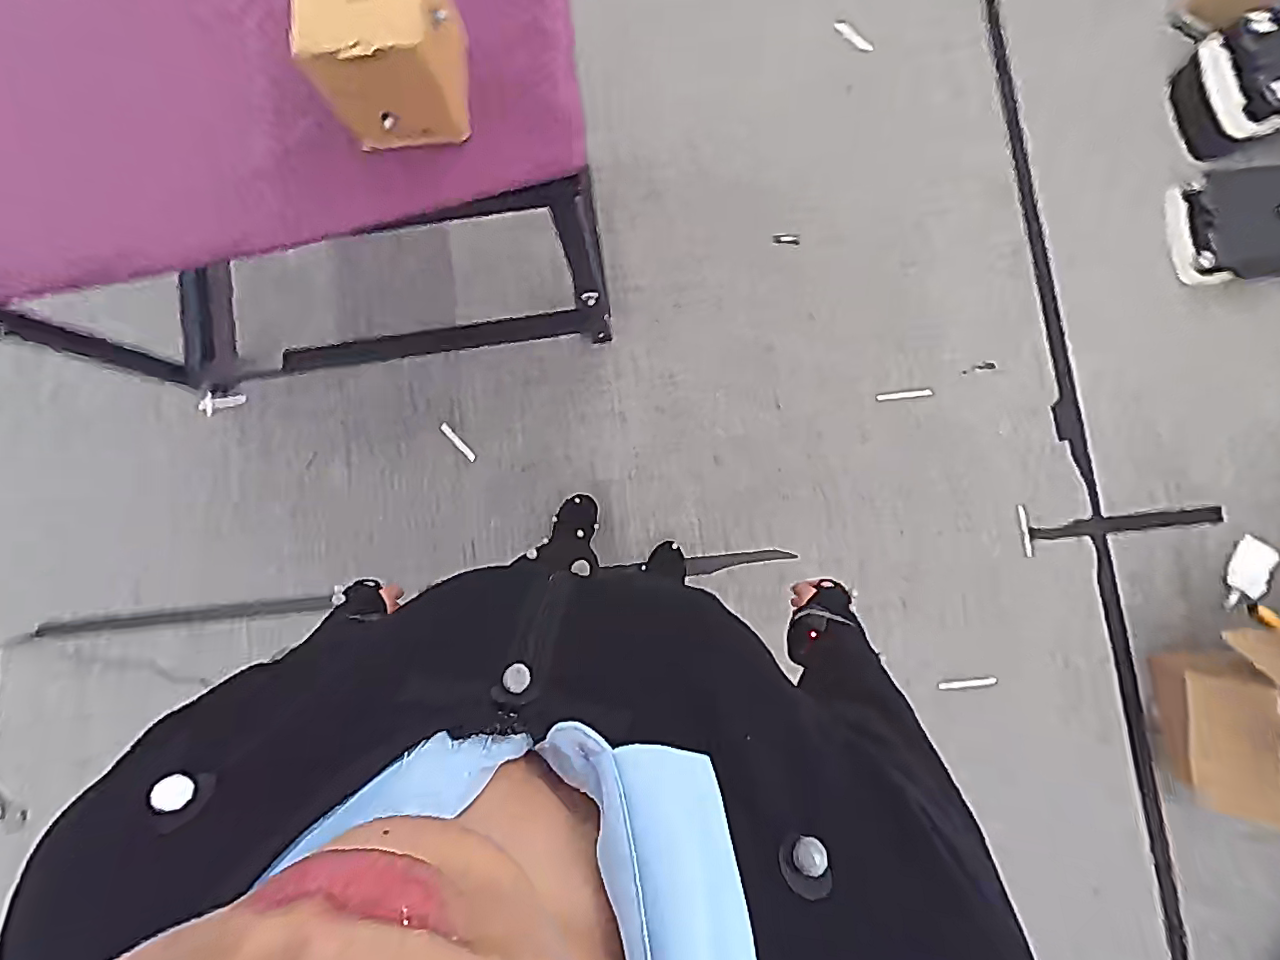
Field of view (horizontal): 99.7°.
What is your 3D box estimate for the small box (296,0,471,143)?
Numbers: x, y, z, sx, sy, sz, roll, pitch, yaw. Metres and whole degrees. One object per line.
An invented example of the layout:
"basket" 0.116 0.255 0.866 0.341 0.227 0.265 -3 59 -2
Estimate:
"small box" -0.346 -0.613 0.758 0.168 0.176 0.179 -3 84 2
